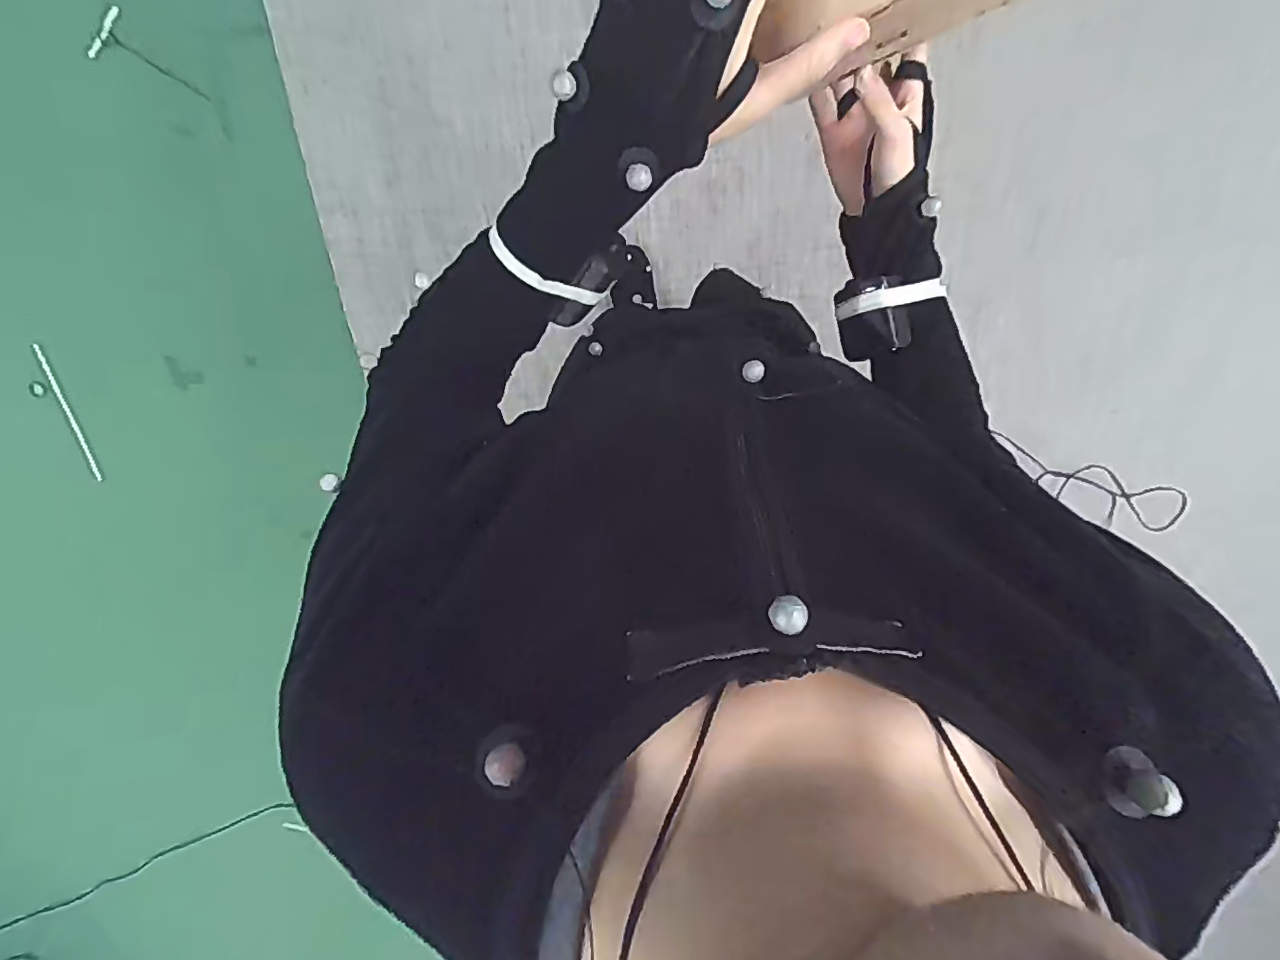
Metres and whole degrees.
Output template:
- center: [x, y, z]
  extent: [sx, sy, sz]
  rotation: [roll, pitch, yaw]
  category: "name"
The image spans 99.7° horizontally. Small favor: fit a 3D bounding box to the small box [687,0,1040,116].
- center: [0.114, -0.323, 0.282]
  extent: [0.168, 0.179, 0.176]
  rotation: [-2, 116, 33]
  category: "small box"
